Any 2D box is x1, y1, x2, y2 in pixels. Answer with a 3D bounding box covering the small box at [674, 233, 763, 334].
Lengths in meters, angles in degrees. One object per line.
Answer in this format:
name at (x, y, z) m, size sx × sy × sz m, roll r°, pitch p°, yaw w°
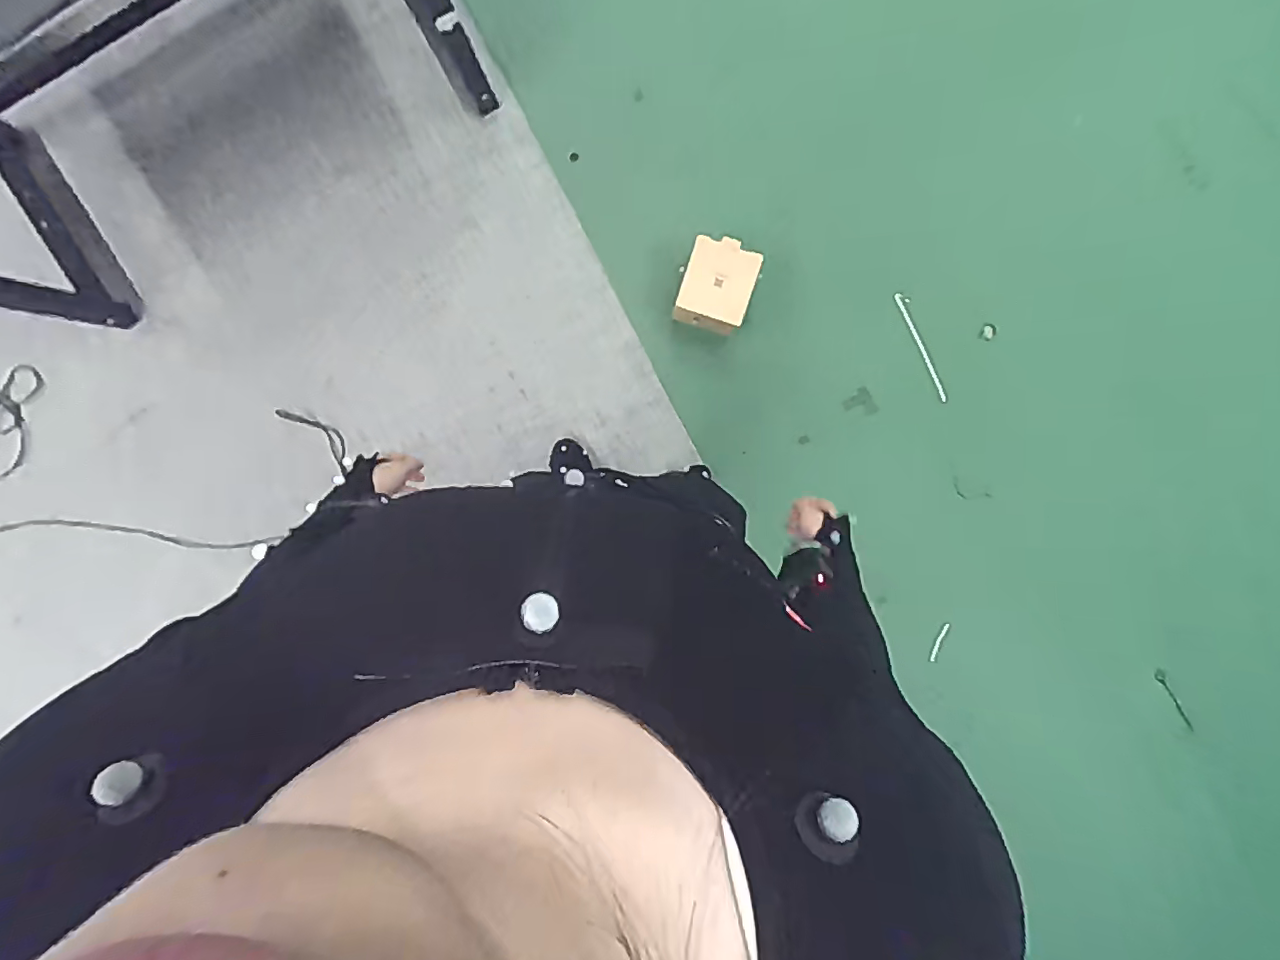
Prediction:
small box at (0.188, -0.479, 1.346) m, size 0.168 × 0.176 × 0.179 m, roll 18°, pitch 96°, yaw -1°
